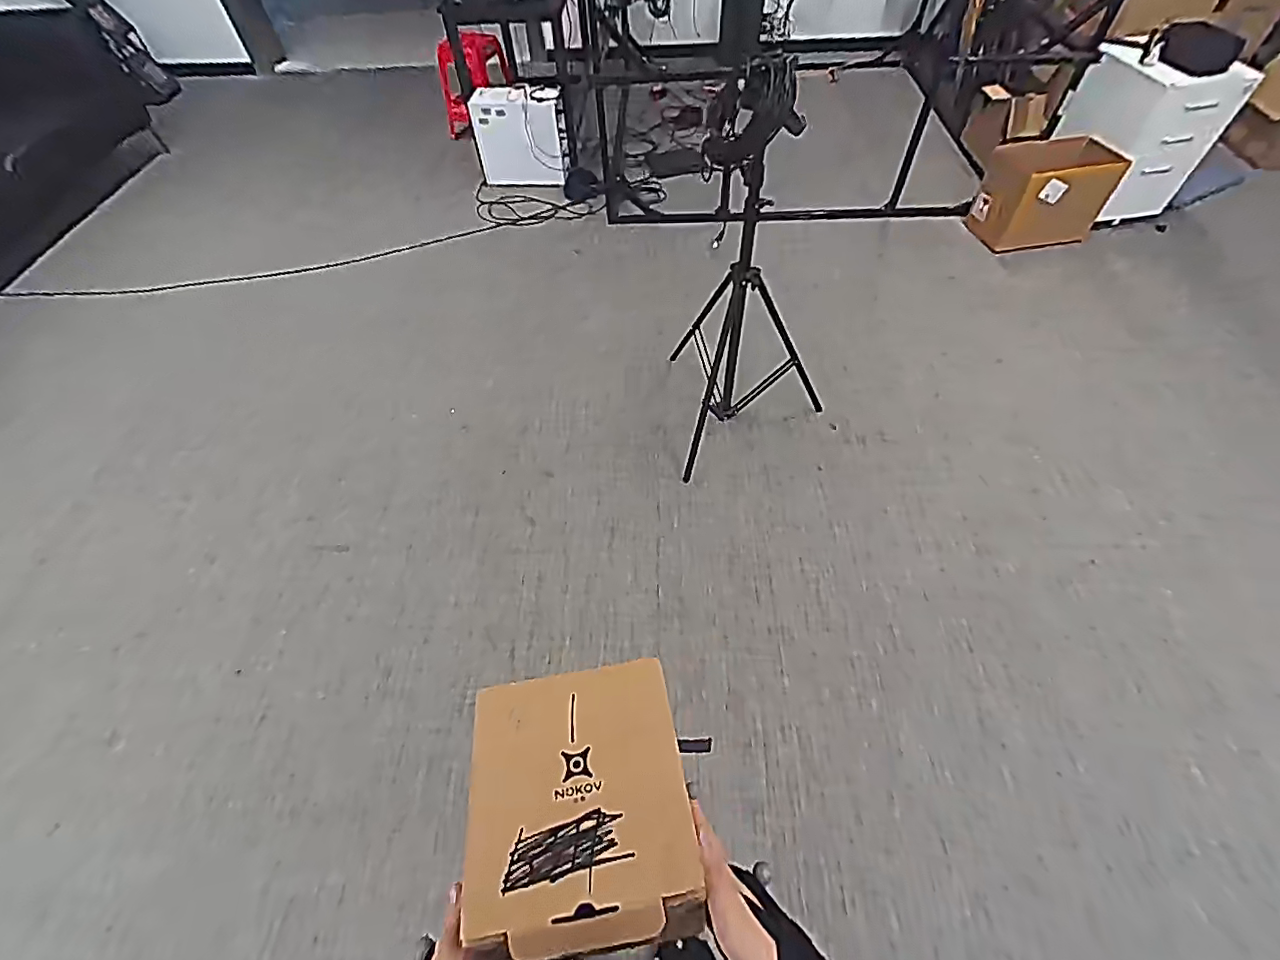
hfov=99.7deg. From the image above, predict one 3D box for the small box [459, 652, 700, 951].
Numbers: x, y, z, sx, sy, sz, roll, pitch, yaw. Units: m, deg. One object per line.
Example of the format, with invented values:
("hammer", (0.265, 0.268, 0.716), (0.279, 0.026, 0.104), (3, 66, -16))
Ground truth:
("small box", (-0.044, 0.282, 0.472), (0.168, 0.176, 0.179), (-9, 43, -3))
